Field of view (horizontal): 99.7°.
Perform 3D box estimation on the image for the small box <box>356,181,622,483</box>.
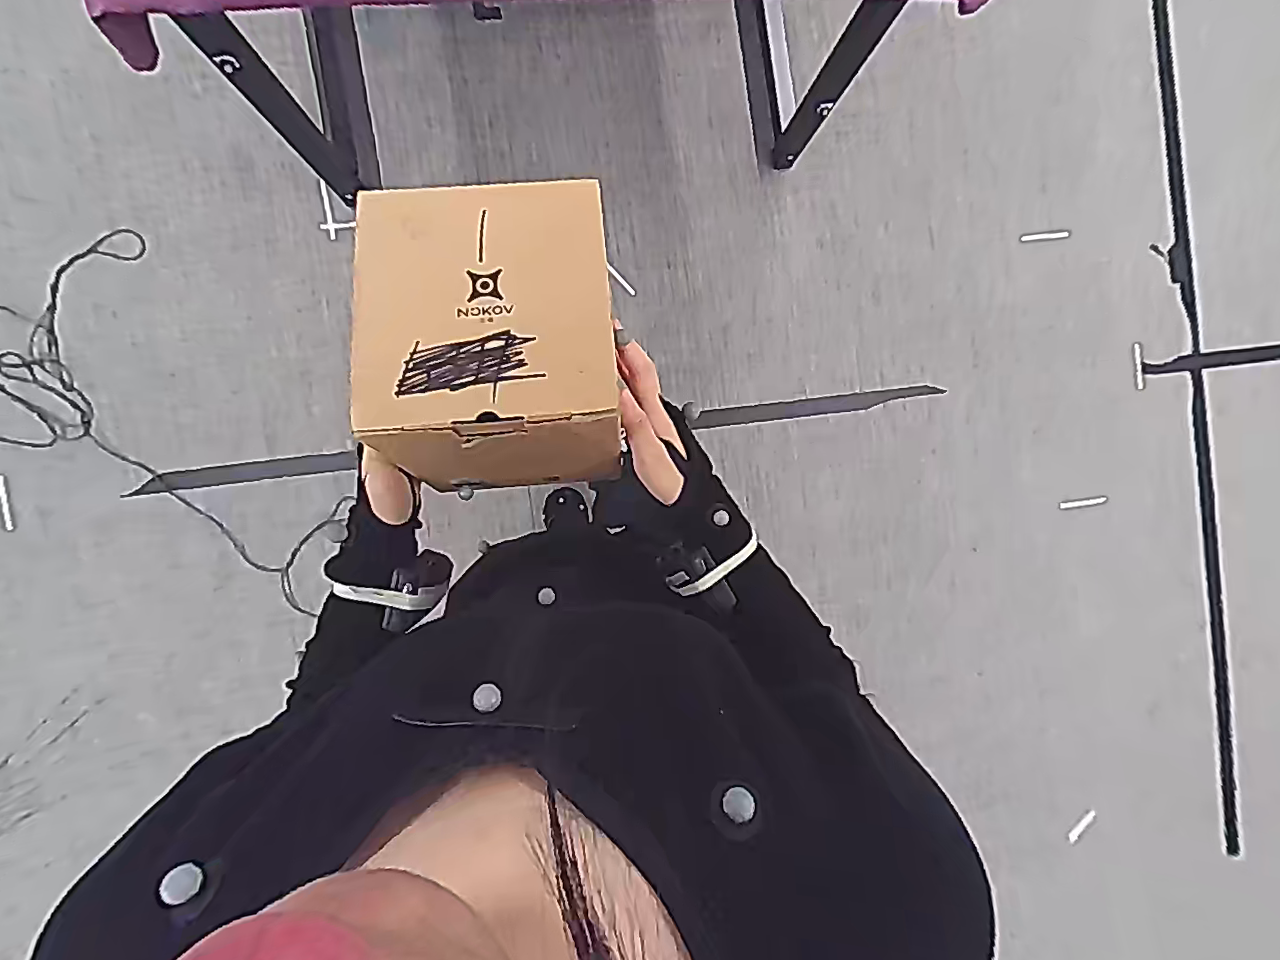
[{"bbox_3d":[-0.102,-0.099,0.431,0.168,0.176,0.179,-5,76,-4],"label":"small box"}]
